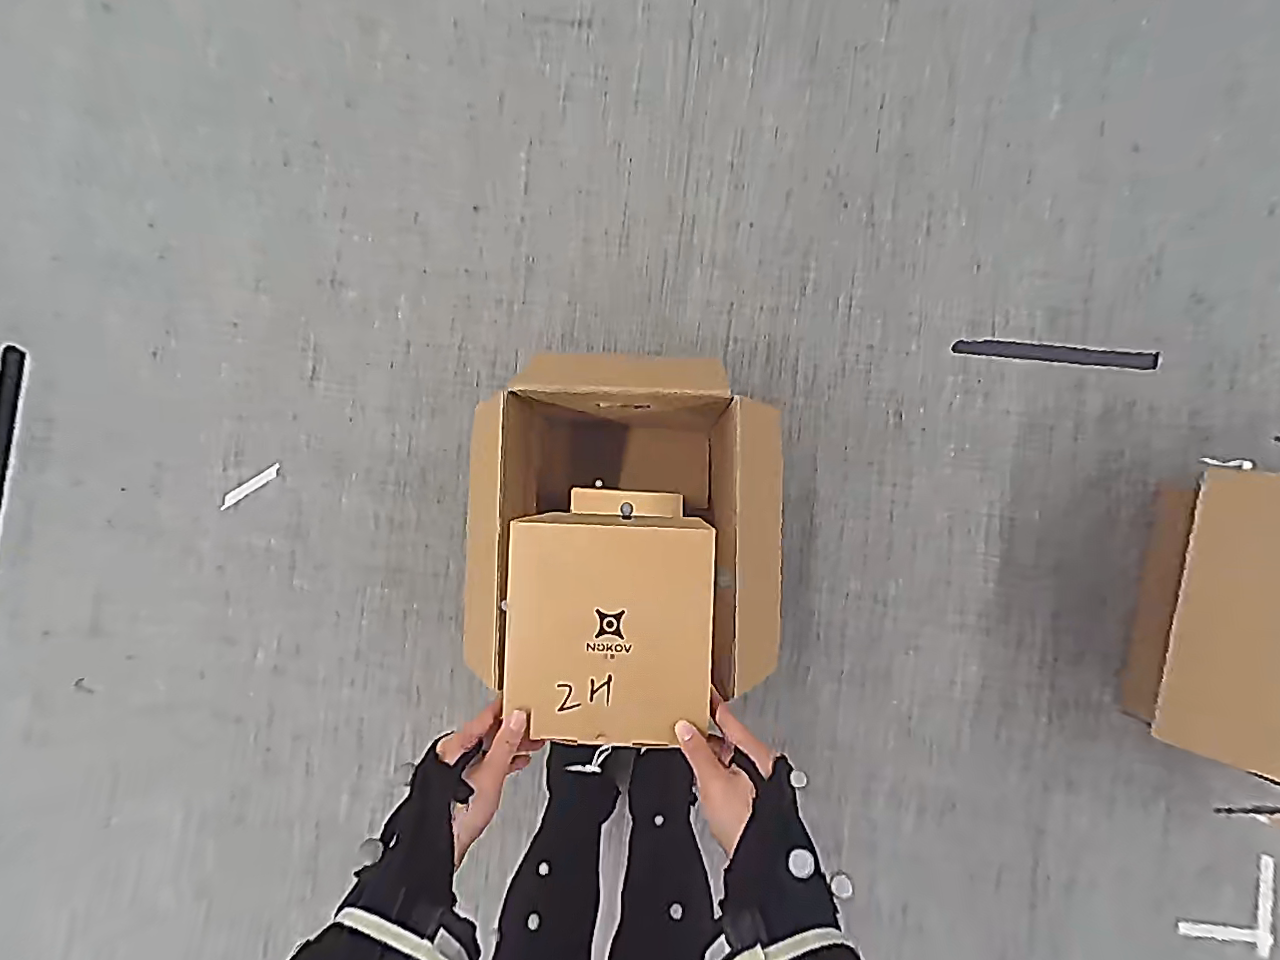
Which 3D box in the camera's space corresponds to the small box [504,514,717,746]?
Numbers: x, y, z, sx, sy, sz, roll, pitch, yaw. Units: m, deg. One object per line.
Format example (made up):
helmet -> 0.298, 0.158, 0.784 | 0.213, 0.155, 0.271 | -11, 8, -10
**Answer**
small box -> -0.021, 0.123, 0.510 | 0.168, 0.176, 0.179 | 2, 89, 3
